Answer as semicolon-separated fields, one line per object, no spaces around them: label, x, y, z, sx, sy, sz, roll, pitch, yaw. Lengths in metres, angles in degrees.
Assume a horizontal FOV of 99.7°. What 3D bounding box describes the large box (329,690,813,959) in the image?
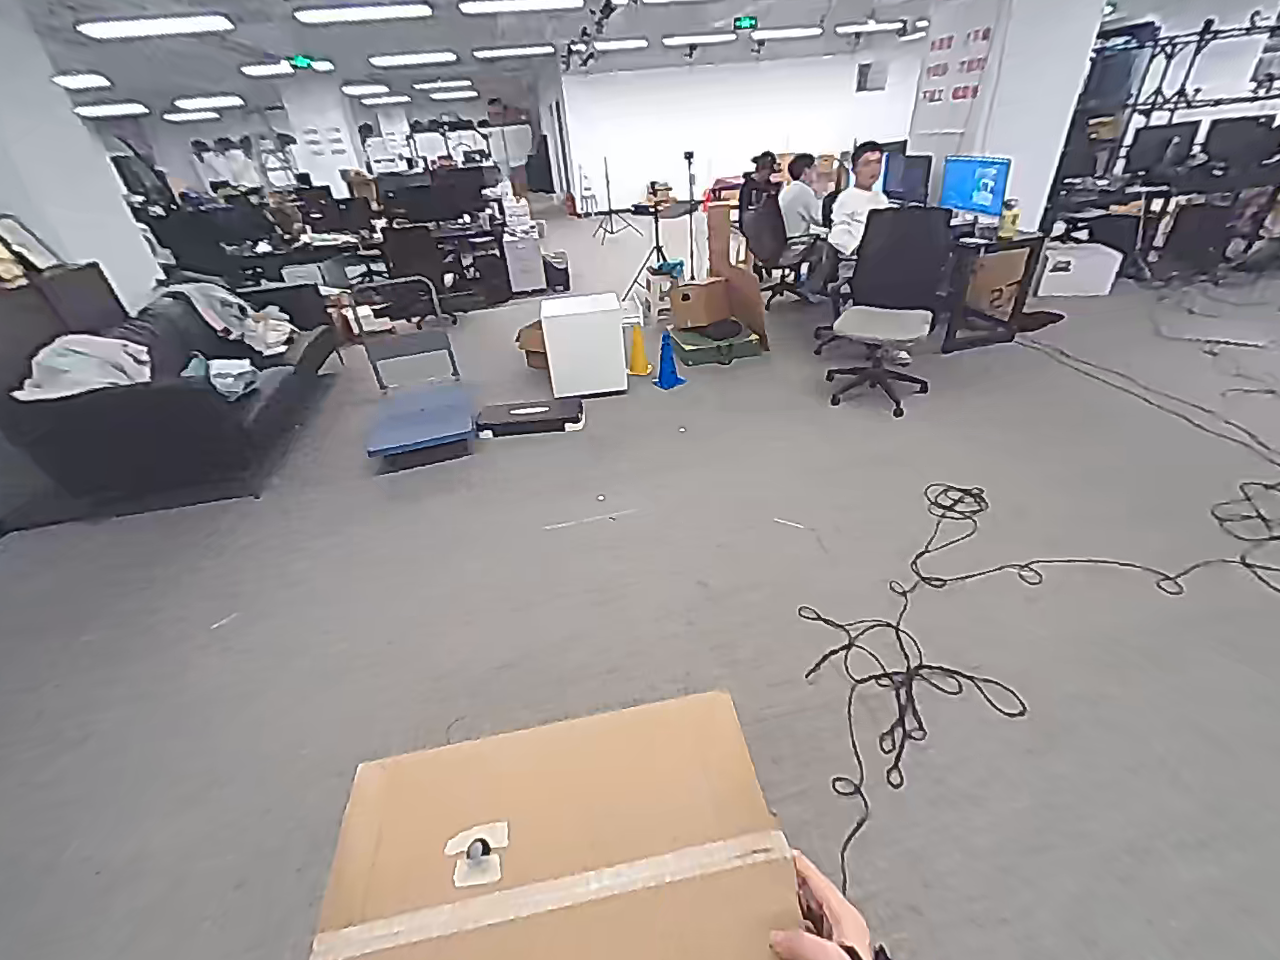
large box;-0.052;0.480;0.569;0.408;0.320;0.320;-12;38;-2
